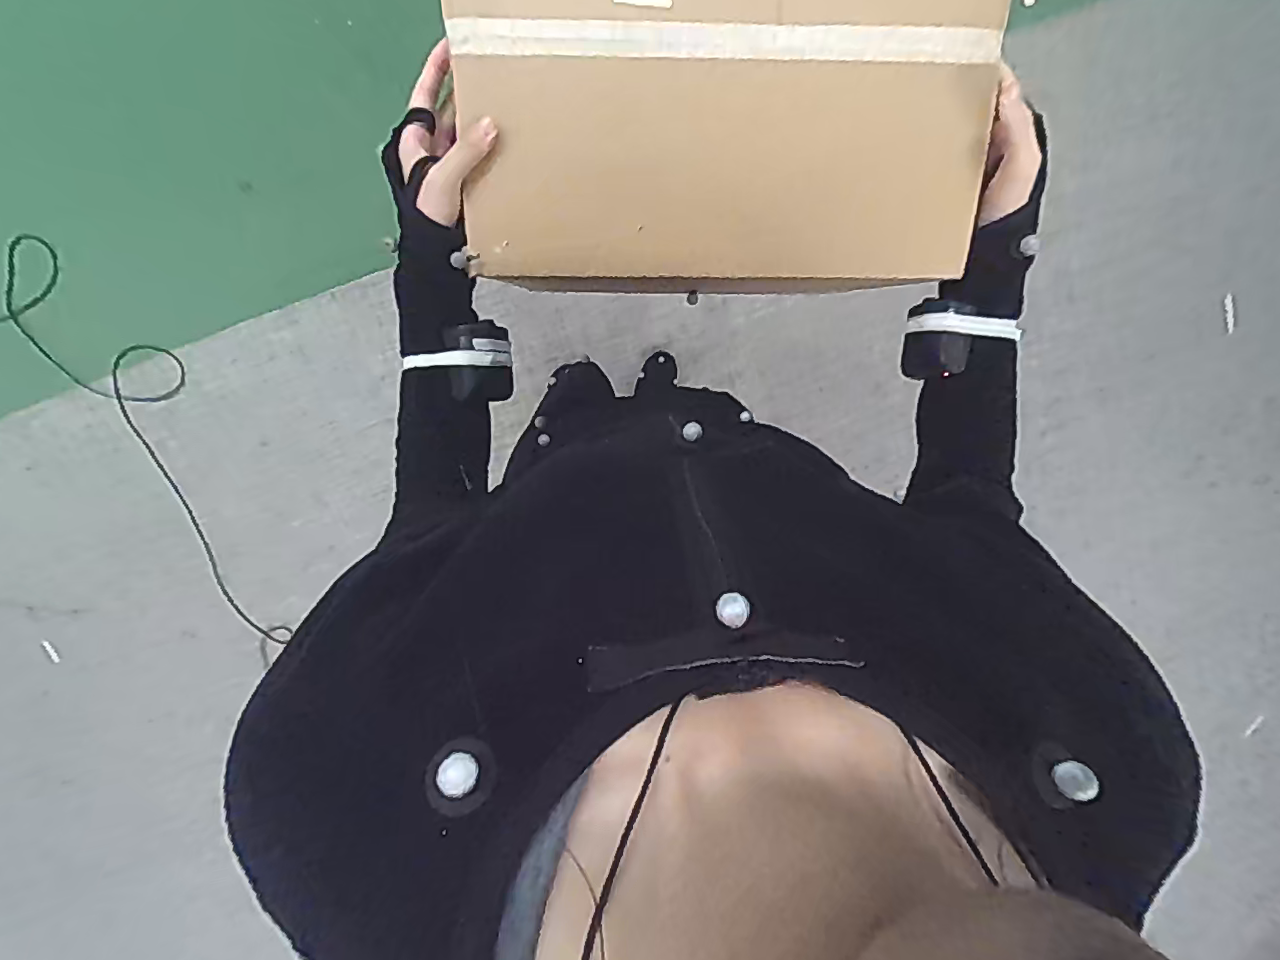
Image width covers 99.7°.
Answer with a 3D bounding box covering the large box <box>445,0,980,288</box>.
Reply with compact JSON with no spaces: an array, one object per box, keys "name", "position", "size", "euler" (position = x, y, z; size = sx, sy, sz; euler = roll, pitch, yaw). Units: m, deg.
[{"name":"large box","position":[0.052,-0.363,0.552],"size":[0.408,0.320,0.320],"euler":[-1,107,-2]}]
